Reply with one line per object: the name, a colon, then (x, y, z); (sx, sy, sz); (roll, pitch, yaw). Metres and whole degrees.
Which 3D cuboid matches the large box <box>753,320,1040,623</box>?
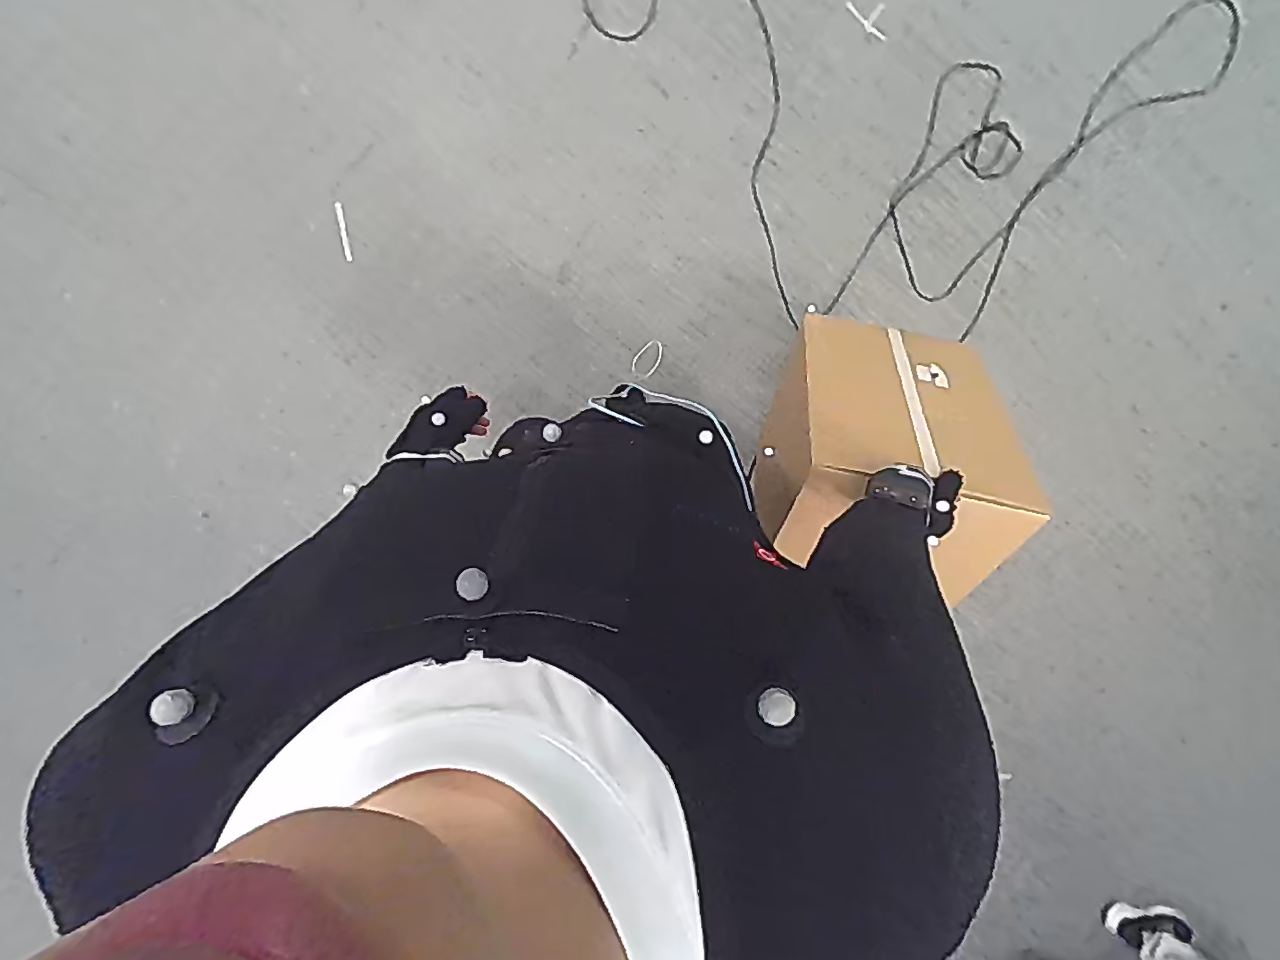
large box: (0.392, -0.020, 0.951); (0.320, 0.408, 0.320); (14, 137, 1)
